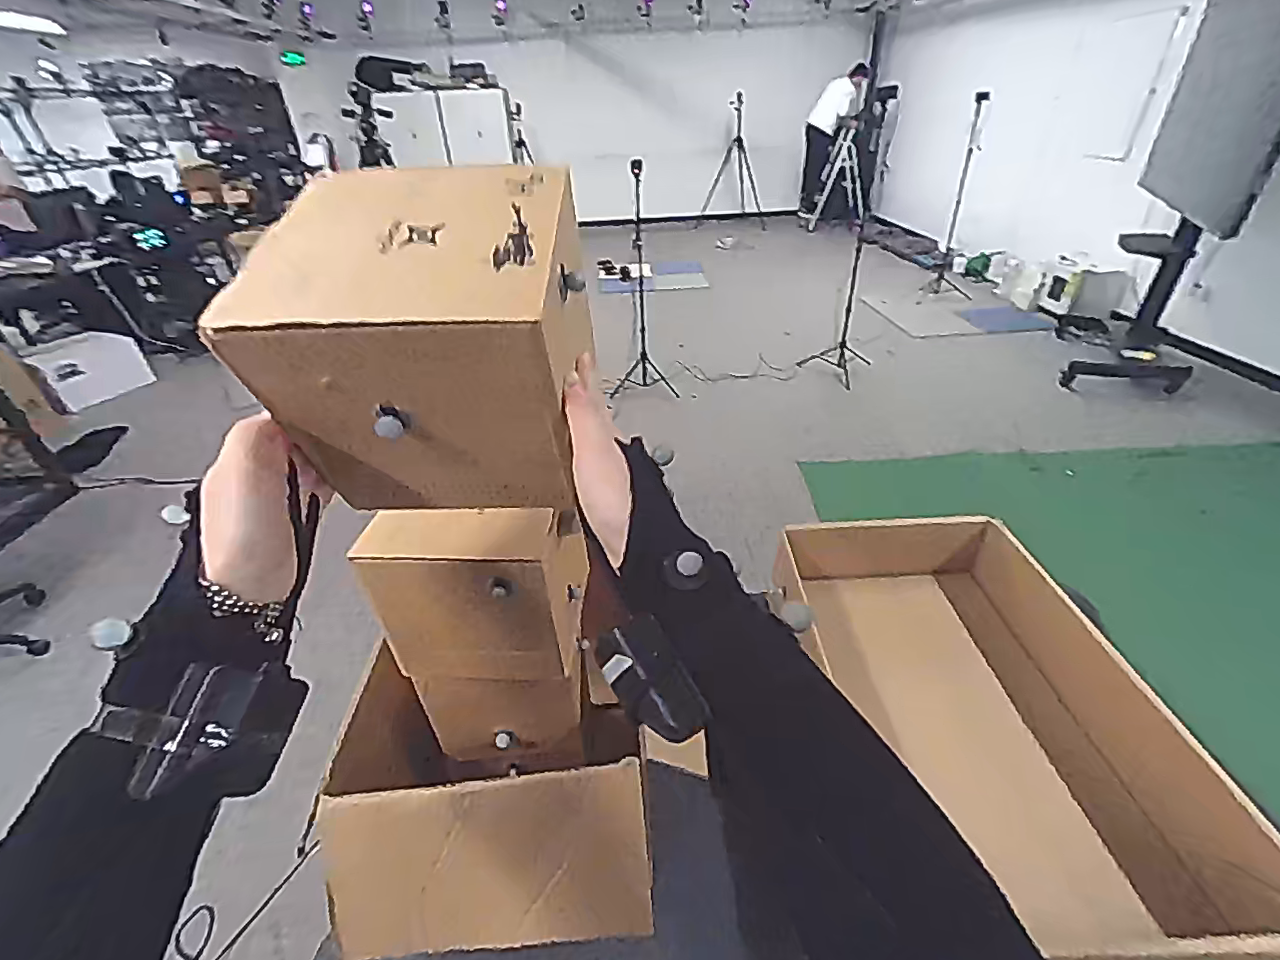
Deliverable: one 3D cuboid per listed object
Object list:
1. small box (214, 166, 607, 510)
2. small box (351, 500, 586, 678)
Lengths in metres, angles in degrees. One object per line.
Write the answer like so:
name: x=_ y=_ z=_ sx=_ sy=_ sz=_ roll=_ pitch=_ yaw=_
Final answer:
small box: x=-0.123 y=-0.089 z=0.376 sx=0.179 sy=0.176 sz=0.168 roll=-1 pitch=56 yaw=3
small box: x=-0.160 y=0.091 z=0.575 sx=0.179 sy=0.176 sz=0.168 roll=0 pitch=35 yaw=4
